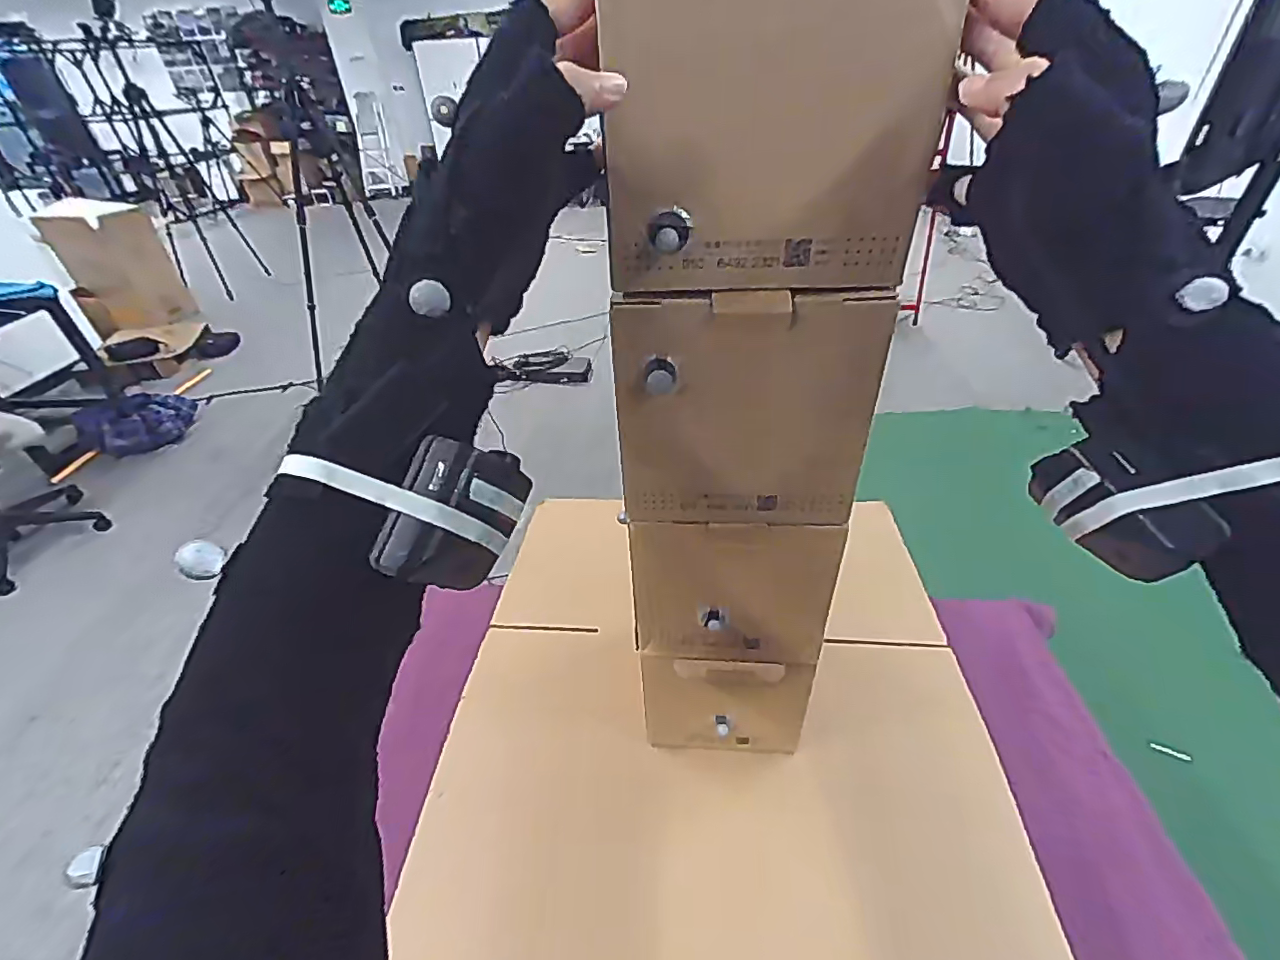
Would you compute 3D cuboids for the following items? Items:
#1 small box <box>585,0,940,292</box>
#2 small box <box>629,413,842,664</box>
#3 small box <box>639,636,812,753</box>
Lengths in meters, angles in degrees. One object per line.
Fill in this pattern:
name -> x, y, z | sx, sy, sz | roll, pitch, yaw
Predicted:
small box -> 0.063, -0.222, 0.337 | 0.168, 0.176, 0.179 | 0, 35, 3
small box -> 0.082, 0.050, 0.526 | 0.168, 0.176, 0.179 | 1, 37, 6
small box -> 0.091, 0.182, 0.622 | 0.168, 0.176, 0.179 | 0, 36, 6
